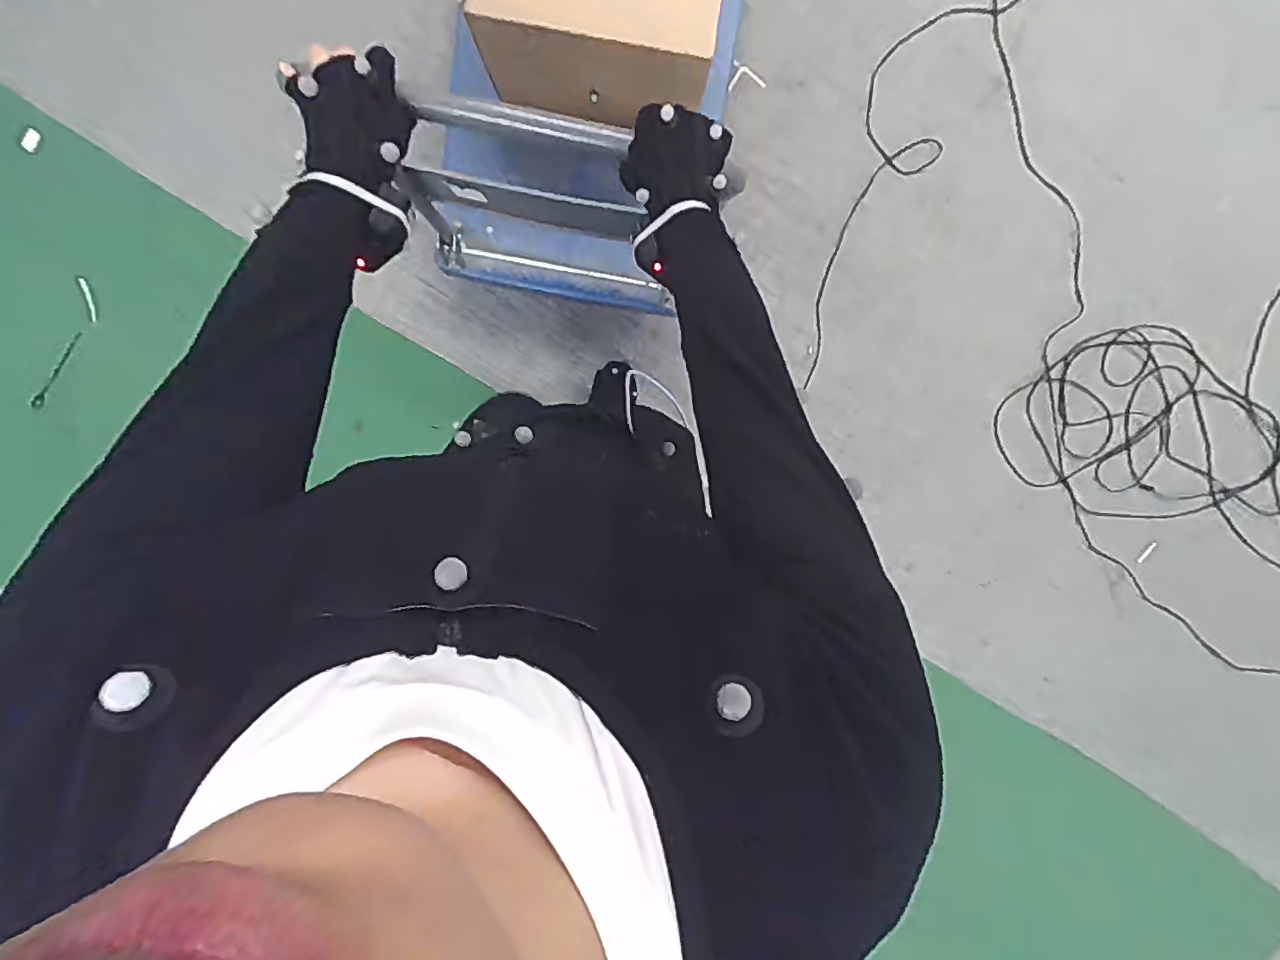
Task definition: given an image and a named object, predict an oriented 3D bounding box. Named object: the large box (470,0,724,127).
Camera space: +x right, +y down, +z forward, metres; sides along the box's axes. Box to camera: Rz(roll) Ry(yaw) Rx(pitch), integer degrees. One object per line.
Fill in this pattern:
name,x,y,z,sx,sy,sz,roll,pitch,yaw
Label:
large box,-0.056,-0.897,0.981,0.408,0.320,0.320,8,100,-4
